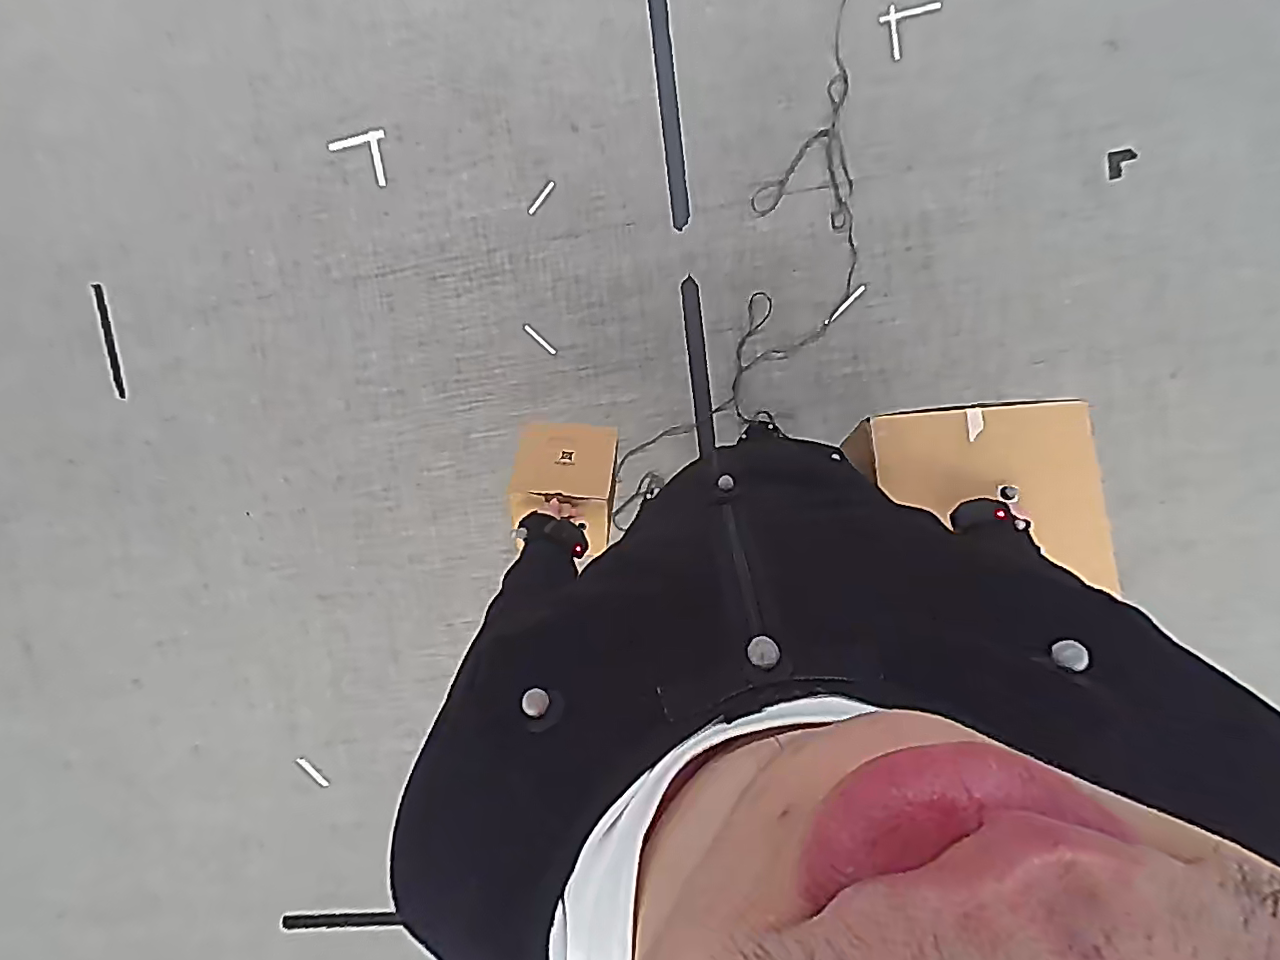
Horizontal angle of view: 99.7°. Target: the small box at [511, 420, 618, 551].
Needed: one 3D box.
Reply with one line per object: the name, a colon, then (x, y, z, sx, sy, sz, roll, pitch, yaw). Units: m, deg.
small box: (-0.132, 0.014, 1.002, 0.168, 0.179, 0.176, 6, 138, -1)
